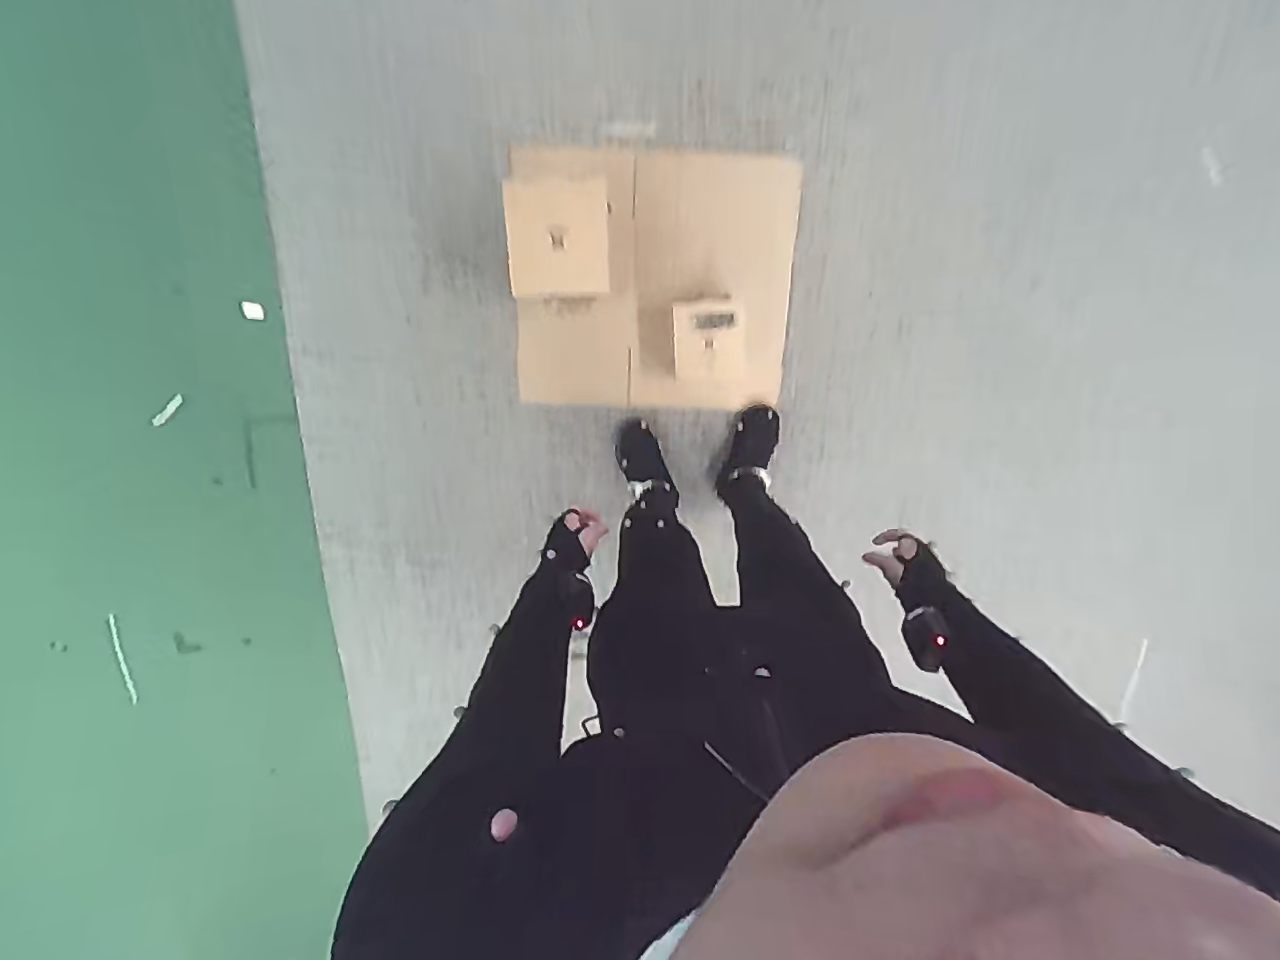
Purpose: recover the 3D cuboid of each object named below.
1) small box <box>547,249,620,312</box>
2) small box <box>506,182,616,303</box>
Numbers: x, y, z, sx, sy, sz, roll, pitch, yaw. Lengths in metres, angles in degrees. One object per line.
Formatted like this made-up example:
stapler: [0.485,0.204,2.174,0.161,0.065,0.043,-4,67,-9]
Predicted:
small box: [-0.137,-0.493,1.264,0.168,0.176,0.179,-5,106,1]
small box: [-0.129,-0.406,0.950,0.168,0.176,0.179,-2,105,0]
